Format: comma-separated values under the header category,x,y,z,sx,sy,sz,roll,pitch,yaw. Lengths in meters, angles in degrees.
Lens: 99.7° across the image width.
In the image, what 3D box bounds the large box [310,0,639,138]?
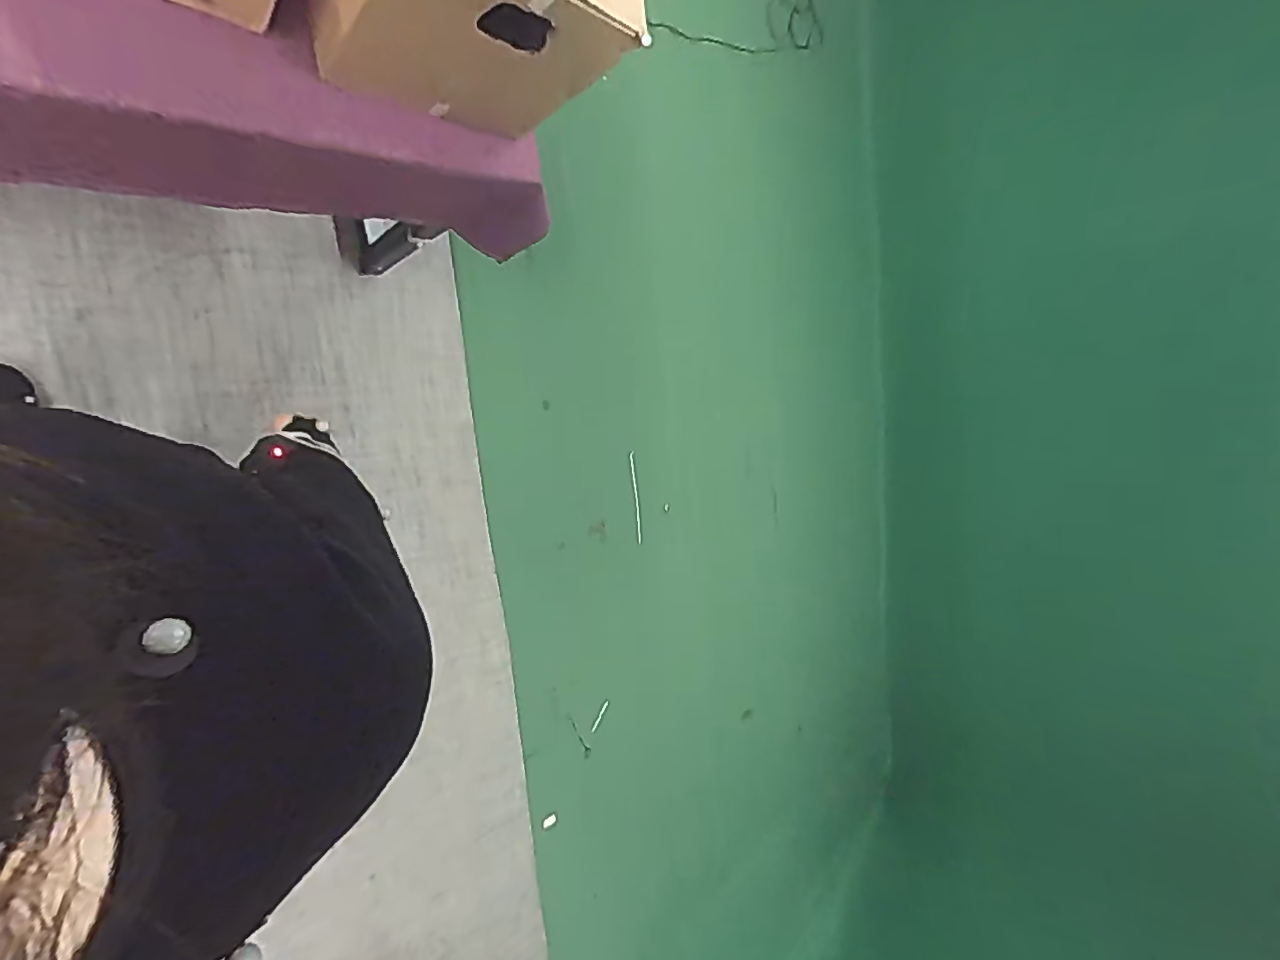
category,x,y,z,sx,sy,sz,roll,pitch,yaw
large box,-0.234,-0.748,0.693,0.320,0.320,0.408,-14,102,-44
